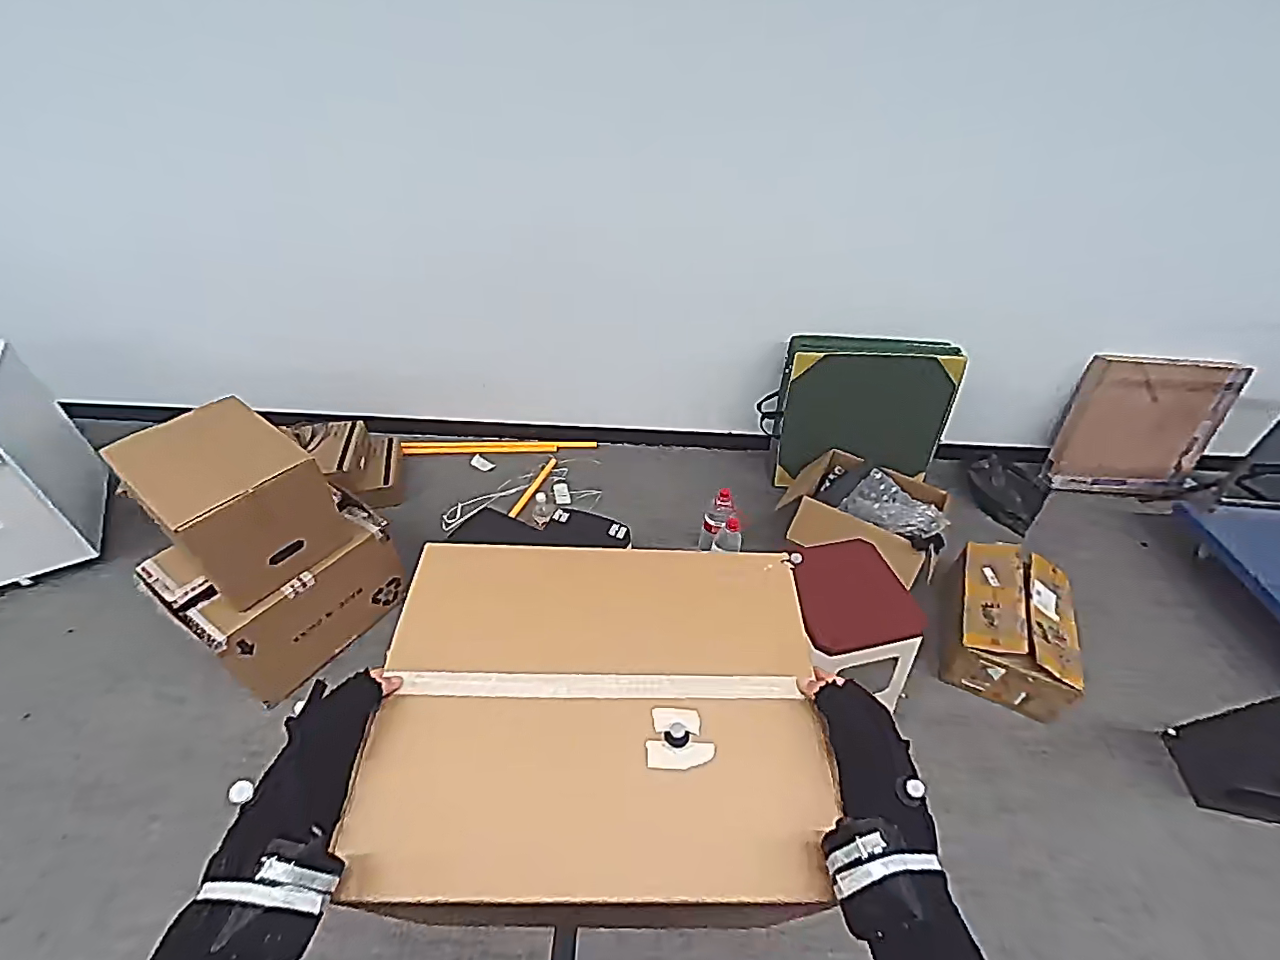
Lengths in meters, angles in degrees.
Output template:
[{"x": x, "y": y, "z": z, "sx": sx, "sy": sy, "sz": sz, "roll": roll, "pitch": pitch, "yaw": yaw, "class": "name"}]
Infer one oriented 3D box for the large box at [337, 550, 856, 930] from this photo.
[{"x": -0.040, "y": 0.298, "z": 0.616, "sx": 0.408, "sy": 0.320, "sz": 0.320, "roll": 2, "pitch": 48, "yaw": -3, "class": "large box"}]
